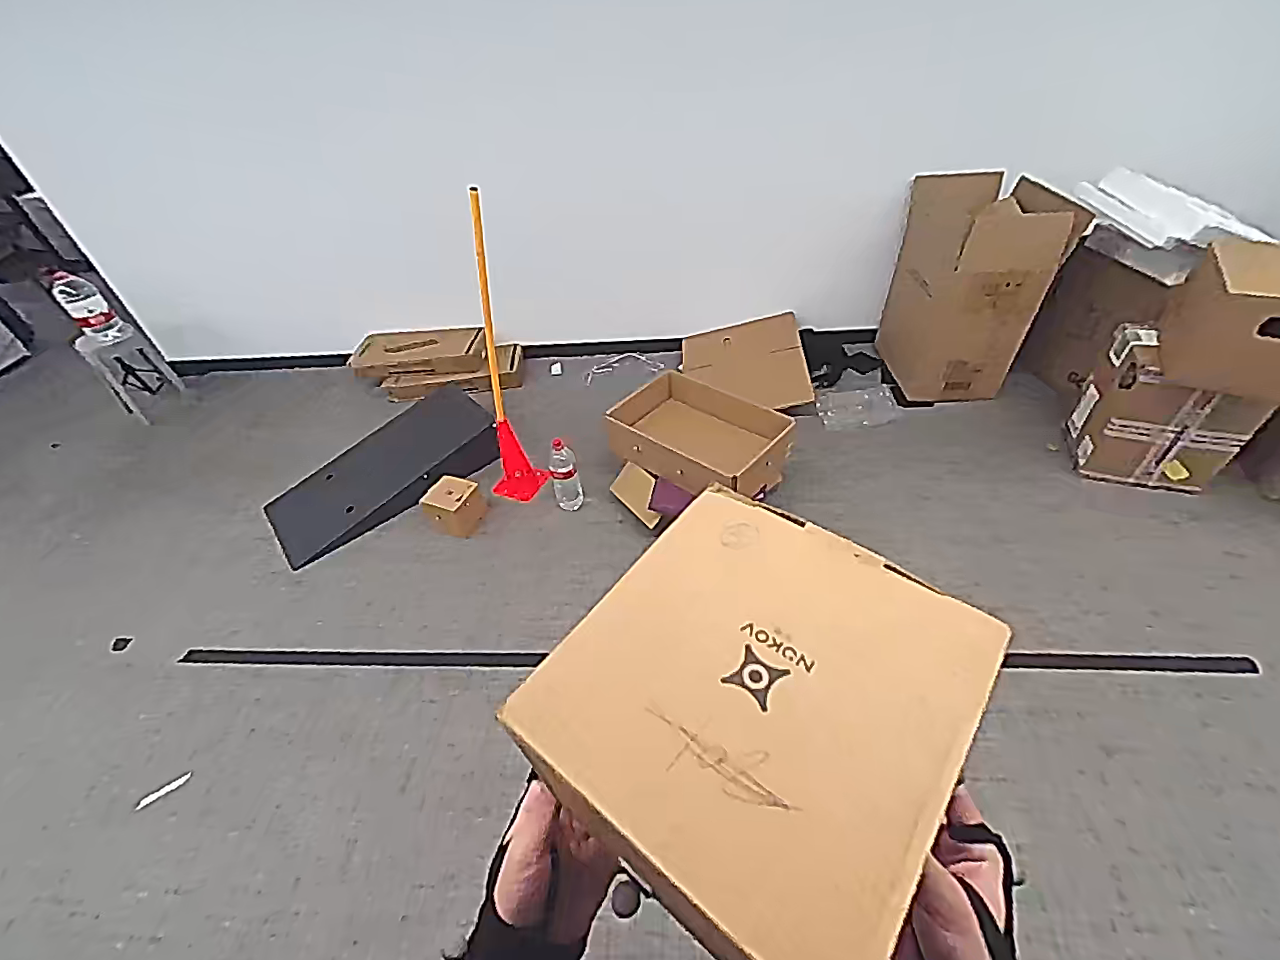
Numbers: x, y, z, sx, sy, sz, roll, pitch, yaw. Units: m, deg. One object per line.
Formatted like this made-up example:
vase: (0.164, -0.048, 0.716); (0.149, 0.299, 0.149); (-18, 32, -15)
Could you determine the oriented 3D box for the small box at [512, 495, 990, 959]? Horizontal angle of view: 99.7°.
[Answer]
small box: (0.059, 0.148, 0.312); (0.168, 0.176, 0.179); (28, 56, 28)
